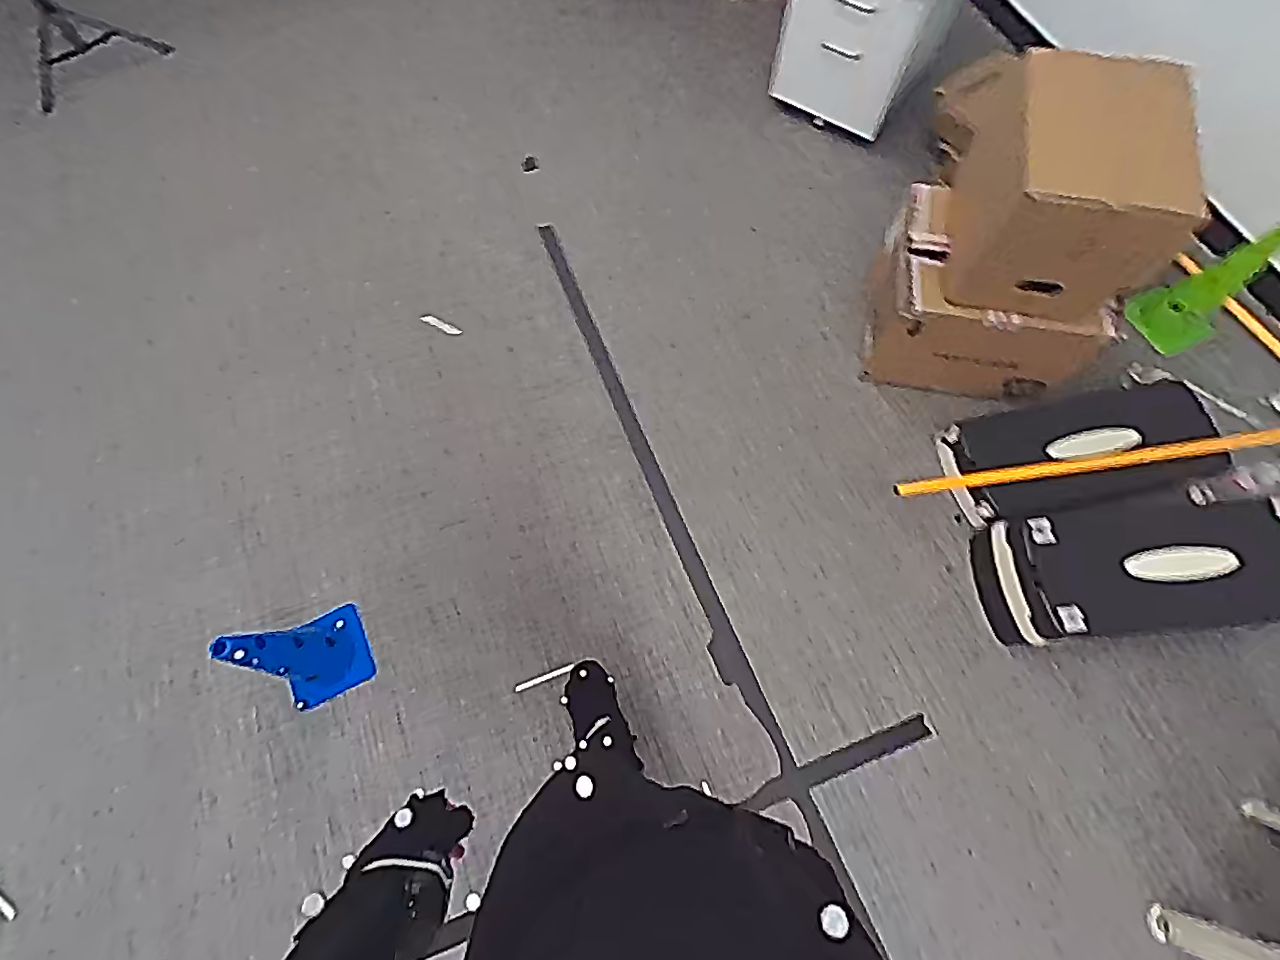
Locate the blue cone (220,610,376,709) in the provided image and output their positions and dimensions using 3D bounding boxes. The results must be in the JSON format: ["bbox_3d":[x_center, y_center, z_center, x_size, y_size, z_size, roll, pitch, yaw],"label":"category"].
[{"bbox_3d":[-0.763,0.378,1.174,0.193,0.380,0.192,-25,72,-8],"label":"blue cone"}]
